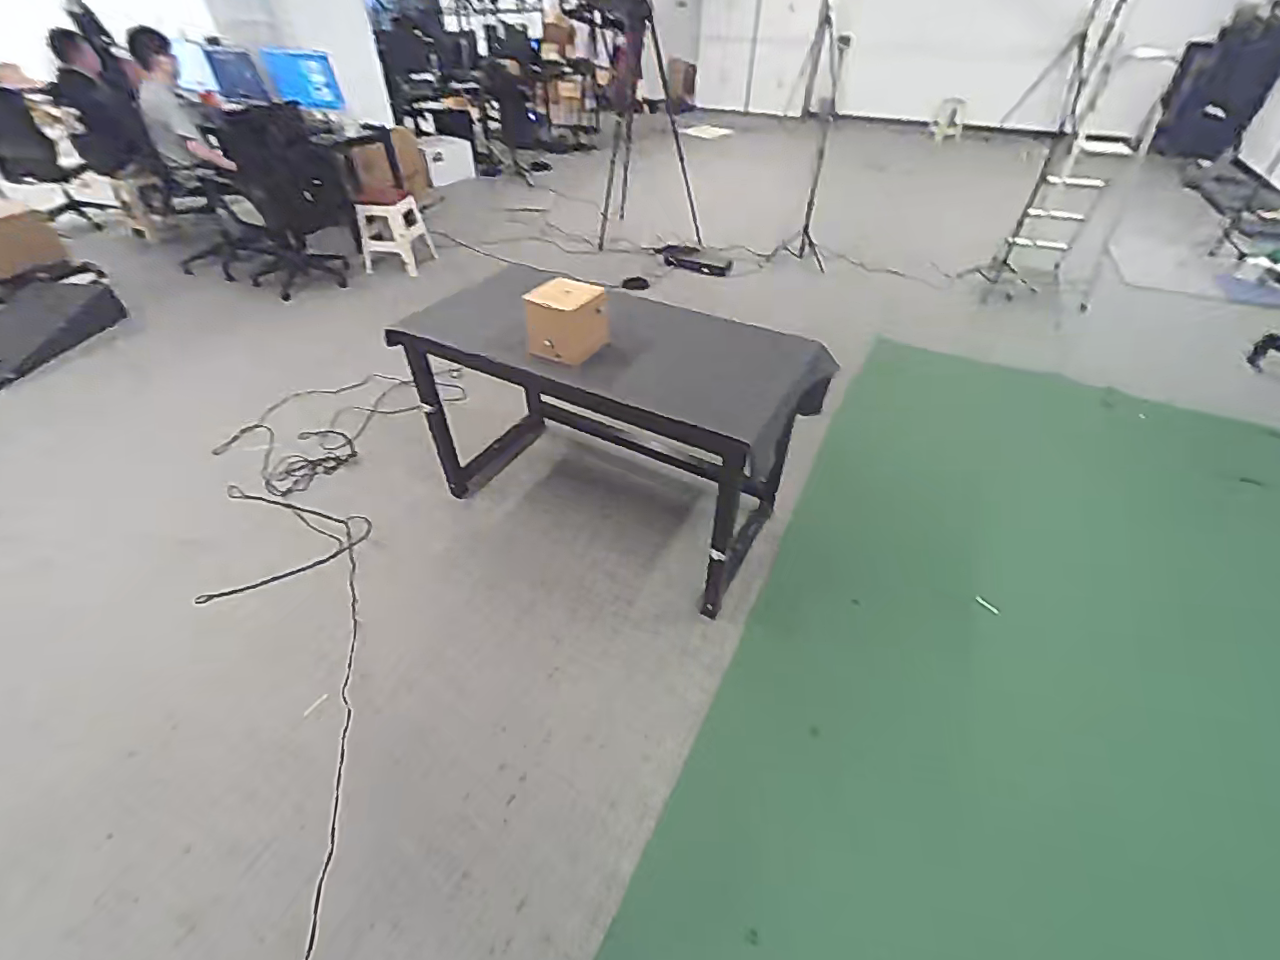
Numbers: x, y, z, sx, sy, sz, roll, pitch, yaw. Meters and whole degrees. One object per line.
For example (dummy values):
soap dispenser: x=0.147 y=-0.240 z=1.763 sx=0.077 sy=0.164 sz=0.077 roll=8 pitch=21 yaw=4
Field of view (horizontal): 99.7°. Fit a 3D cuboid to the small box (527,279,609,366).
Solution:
small box: x=-0.202 y=-0.453 z=1.554 sx=0.168 sy=0.176 sz=0.179 roll=21 pitch=45 yaw=23
